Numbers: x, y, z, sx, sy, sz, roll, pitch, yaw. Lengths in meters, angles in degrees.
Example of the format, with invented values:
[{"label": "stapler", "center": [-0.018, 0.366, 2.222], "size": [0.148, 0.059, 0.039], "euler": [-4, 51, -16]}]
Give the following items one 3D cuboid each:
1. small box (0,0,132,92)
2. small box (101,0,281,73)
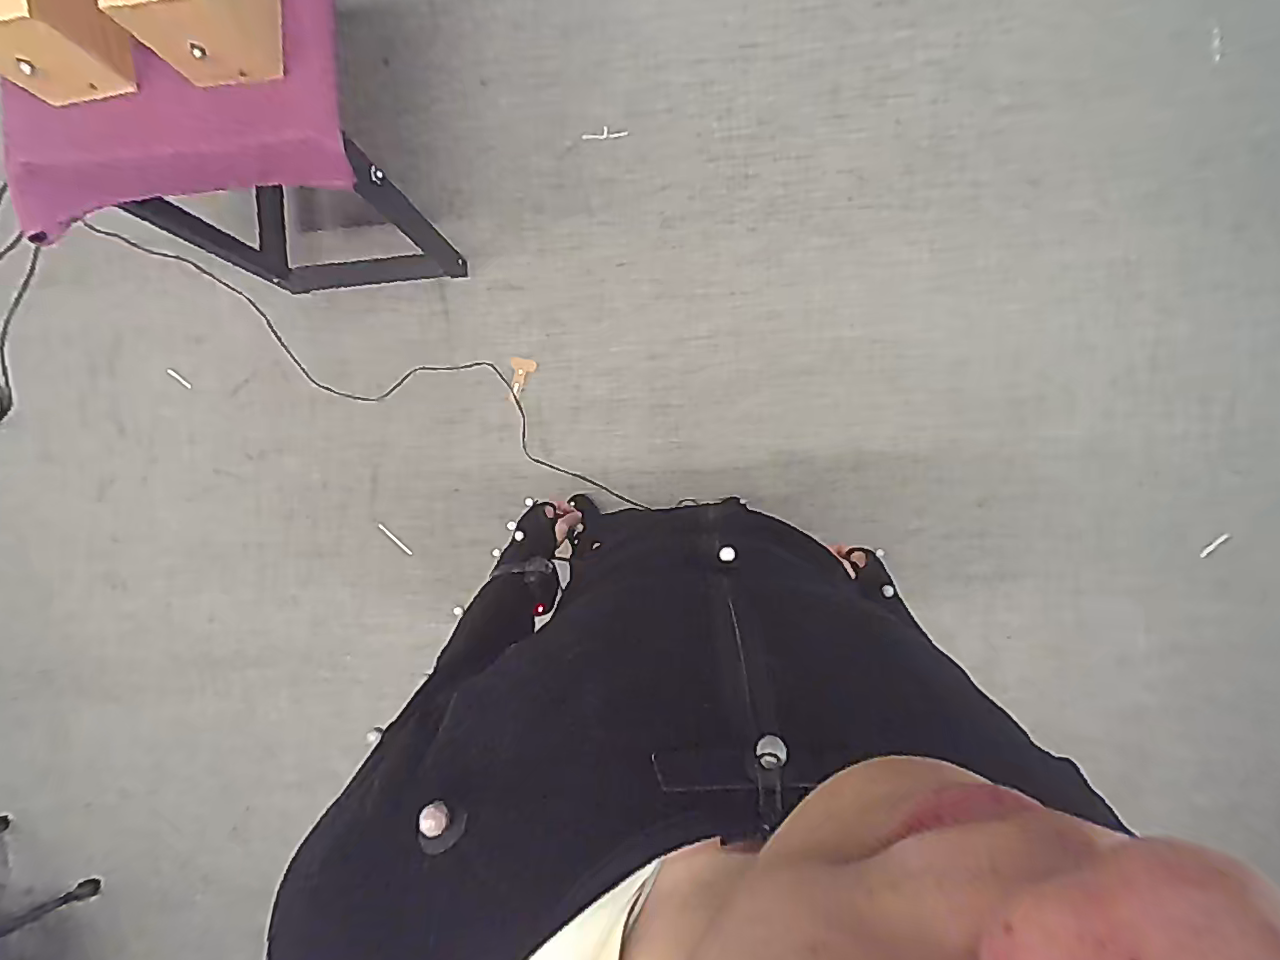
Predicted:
[{"label": "small box", "center": [-0.994, -0.780, 0.890], "size": [0.168, 0.176, 0.179], "euler": [-7, 89, 4]}, {"label": "small box", "center": [-0.711, -0.794, 0.867], "size": [0.168, 0.176, 0.179], "euler": [-1, 90, 5]}]
